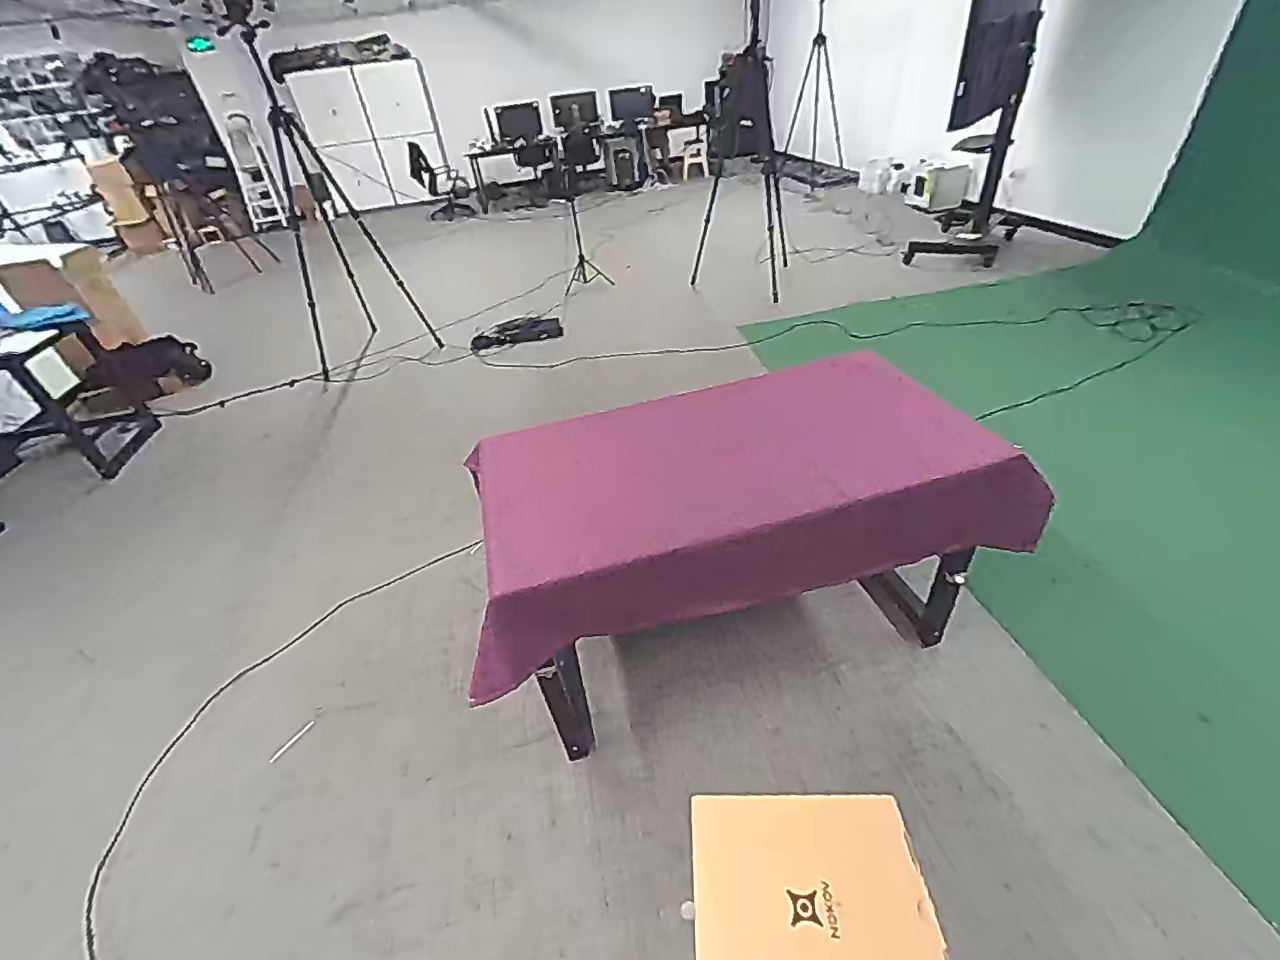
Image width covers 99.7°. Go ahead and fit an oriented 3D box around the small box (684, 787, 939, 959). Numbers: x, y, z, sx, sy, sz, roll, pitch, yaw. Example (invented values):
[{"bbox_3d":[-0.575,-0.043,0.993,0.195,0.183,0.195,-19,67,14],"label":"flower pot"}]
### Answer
[{"bbox_3d":[0.131,0.384,0.450,0.179,0.176,0.168,-4,32,6],"label":"small box"}]
